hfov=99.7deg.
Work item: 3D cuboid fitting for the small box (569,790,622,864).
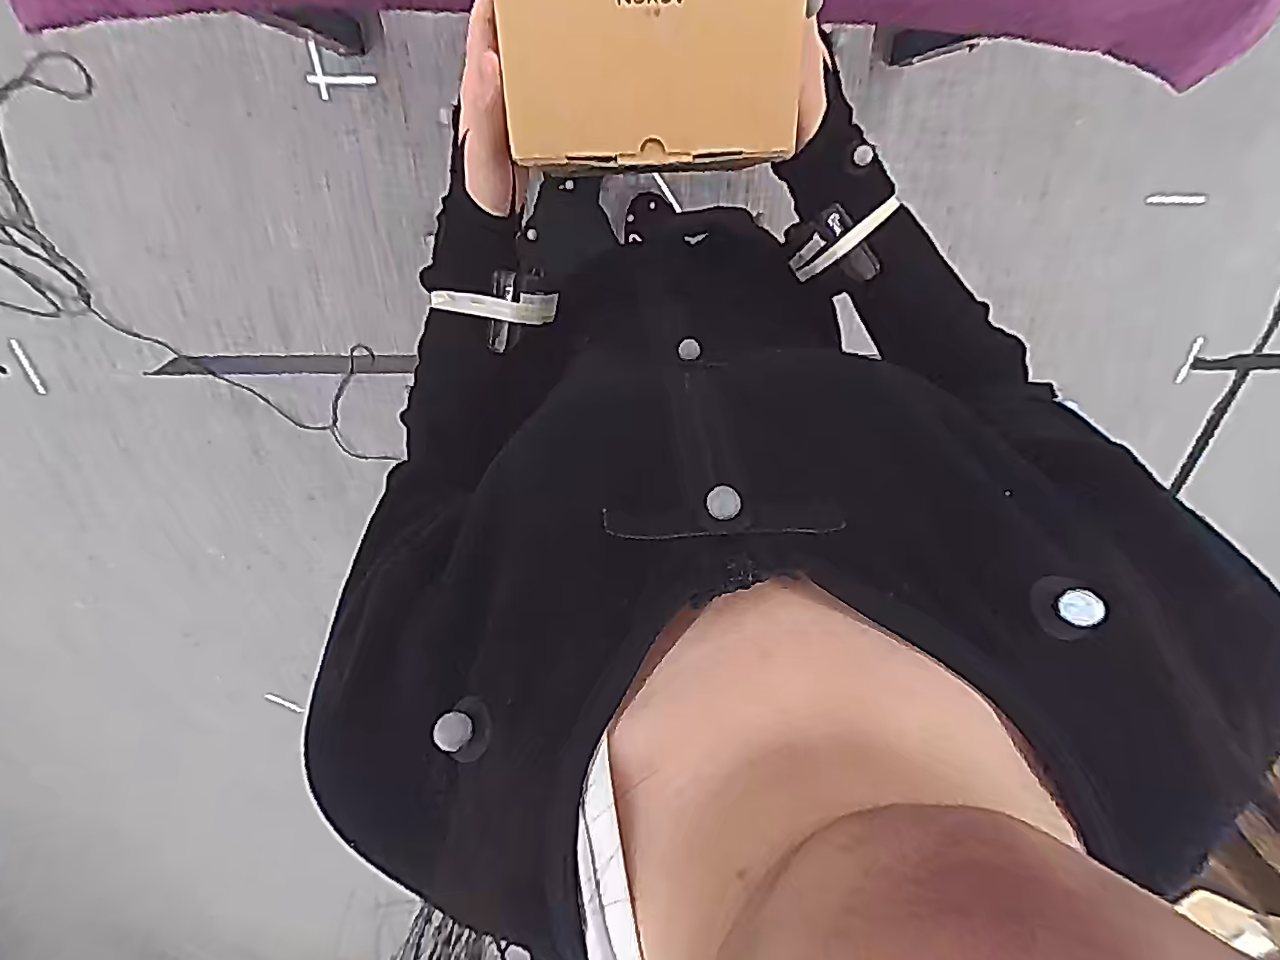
[{"bbox_3d":[-0.156,1.224,1.916,0.179,0.176,0.168,-2,120,-3],"label":"small box"}]

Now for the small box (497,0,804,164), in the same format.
[{"bbox_3d":[0.003,-0.309,0.347,0.168,0.176,0.179,-2,119,0],"label":"small box"}]

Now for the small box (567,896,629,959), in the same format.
[{"bbox_3d":[-0.129,1.392,1.634,0.179,0.176,0.168,1,120,-6],"label":"small box"}]
